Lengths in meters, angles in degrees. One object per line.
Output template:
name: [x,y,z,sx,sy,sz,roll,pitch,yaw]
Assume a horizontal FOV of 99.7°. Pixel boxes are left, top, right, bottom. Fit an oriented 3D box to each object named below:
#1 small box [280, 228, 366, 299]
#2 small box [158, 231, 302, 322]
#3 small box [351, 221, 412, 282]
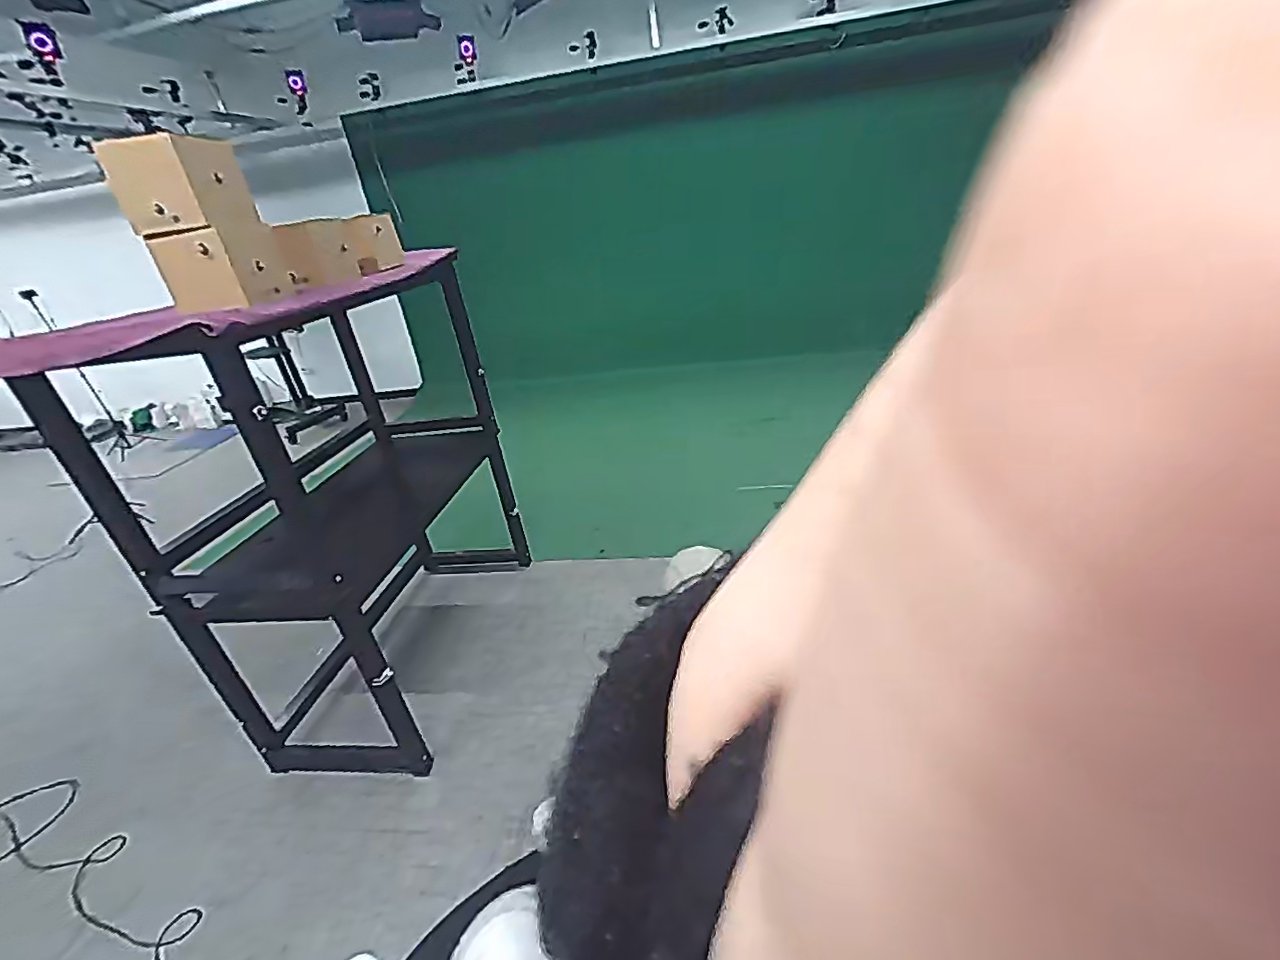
small box: [-0.924,-0.623,1.559,0.168,0.176,0.179,-5,28,8]
small box: [-0.932,-0.472,1.251,0.179,0.176,0.168,-4,26,7]
small box: [-0.913,-0.772,1.845,0.168,0.176,0.179,-5,27,12]
